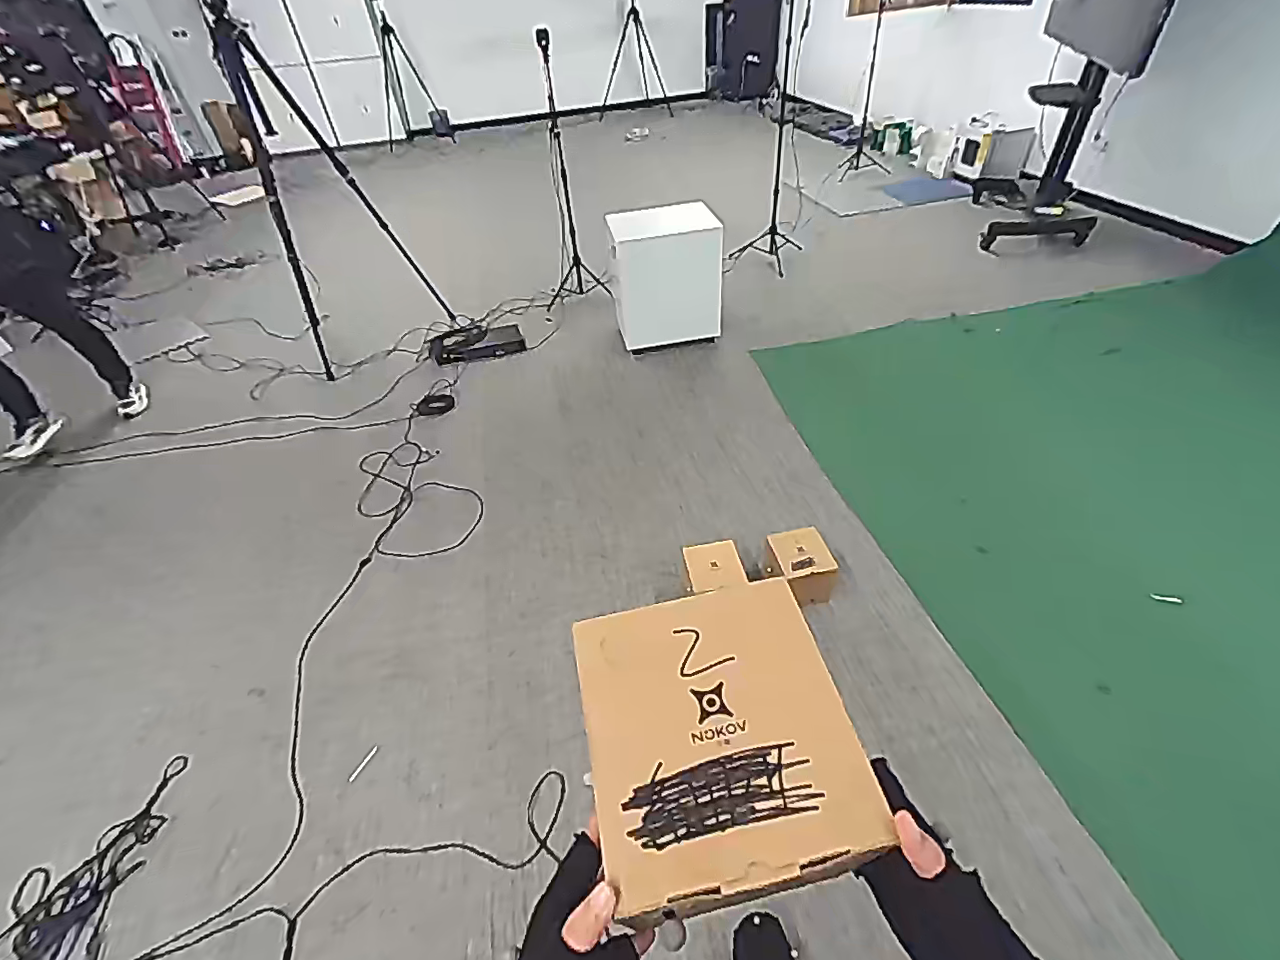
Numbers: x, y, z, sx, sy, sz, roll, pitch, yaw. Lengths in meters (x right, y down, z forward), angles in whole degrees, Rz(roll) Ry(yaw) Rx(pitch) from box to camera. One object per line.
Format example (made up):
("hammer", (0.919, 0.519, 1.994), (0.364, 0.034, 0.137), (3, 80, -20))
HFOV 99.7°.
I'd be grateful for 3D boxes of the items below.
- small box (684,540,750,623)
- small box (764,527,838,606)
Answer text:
("small box", (0.234, 0.318, 1.689), (0.168, 0.176, 0.179), (-9, 44, -5))
("small box", (0.500, 0.279, 1.704), (0.168, 0.176, 0.179), (-10, 43, -5))
